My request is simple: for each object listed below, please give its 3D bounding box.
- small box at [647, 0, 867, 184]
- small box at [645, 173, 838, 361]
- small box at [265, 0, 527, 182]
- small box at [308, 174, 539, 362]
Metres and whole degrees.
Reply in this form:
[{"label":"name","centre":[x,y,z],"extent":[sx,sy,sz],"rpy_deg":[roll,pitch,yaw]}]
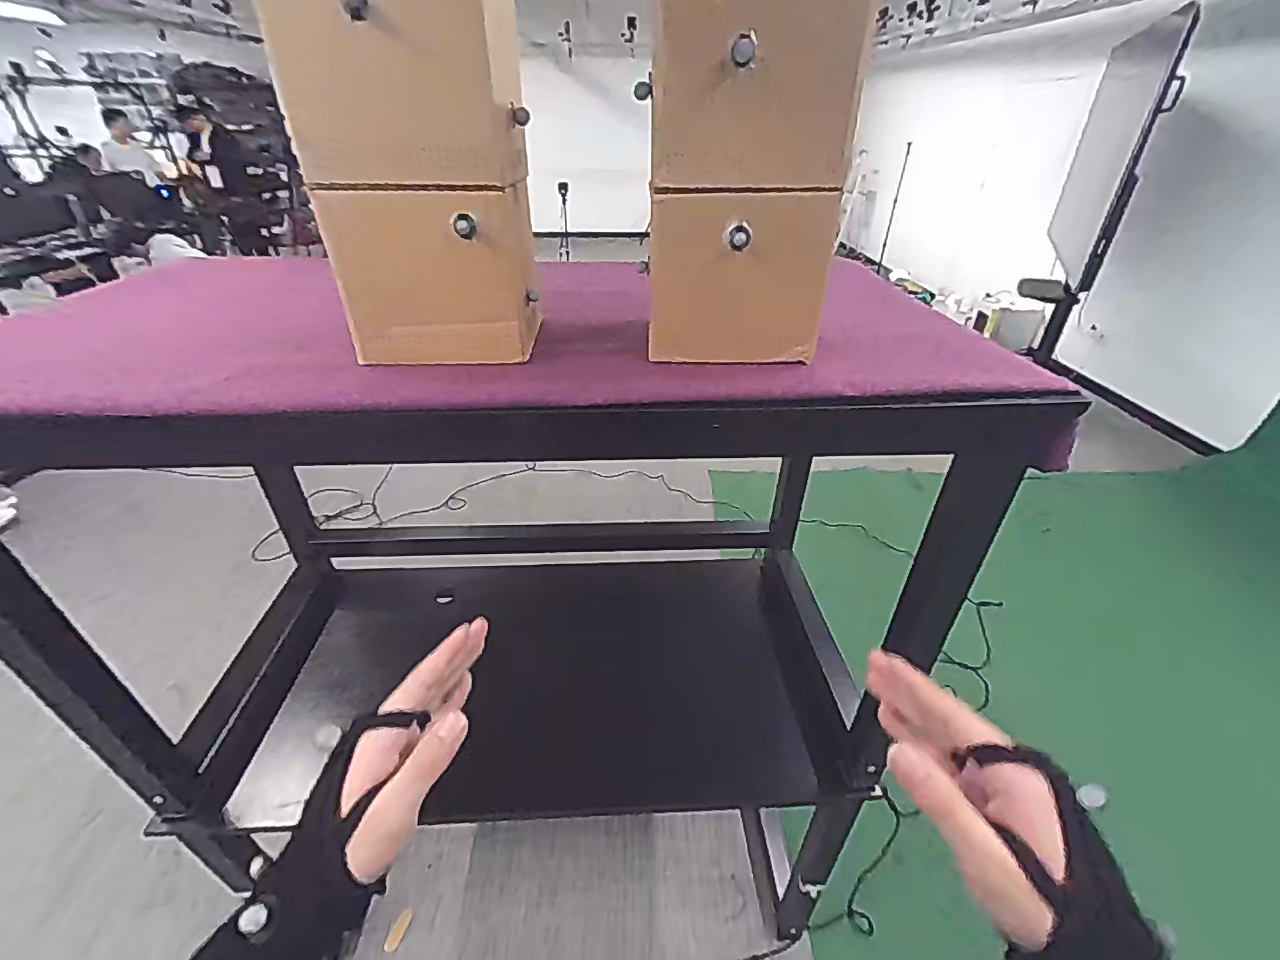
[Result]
[{"label":"small box","centre":[0.096,-0.374,0.503],"extent":[0.179,0.176,0.168],"rpy_deg":[-1,34,1]},{"label":"small box","centre":[0.096,-0.237,0.594],"extent":[0.179,0.176,0.168],"rpy_deg":[1,34,1]},{"label":"small box","centre":[-0.210,-0.373,0.499],"extent":[0.179,0.176,0.168],"rpy_deg":[-1,34,-2]},{"label":"small box","centre":[-0.212,-0.234,0.588],"extent":[0.179,0.176,0.168],"rpy_deg":[-1,33,-3]}]
